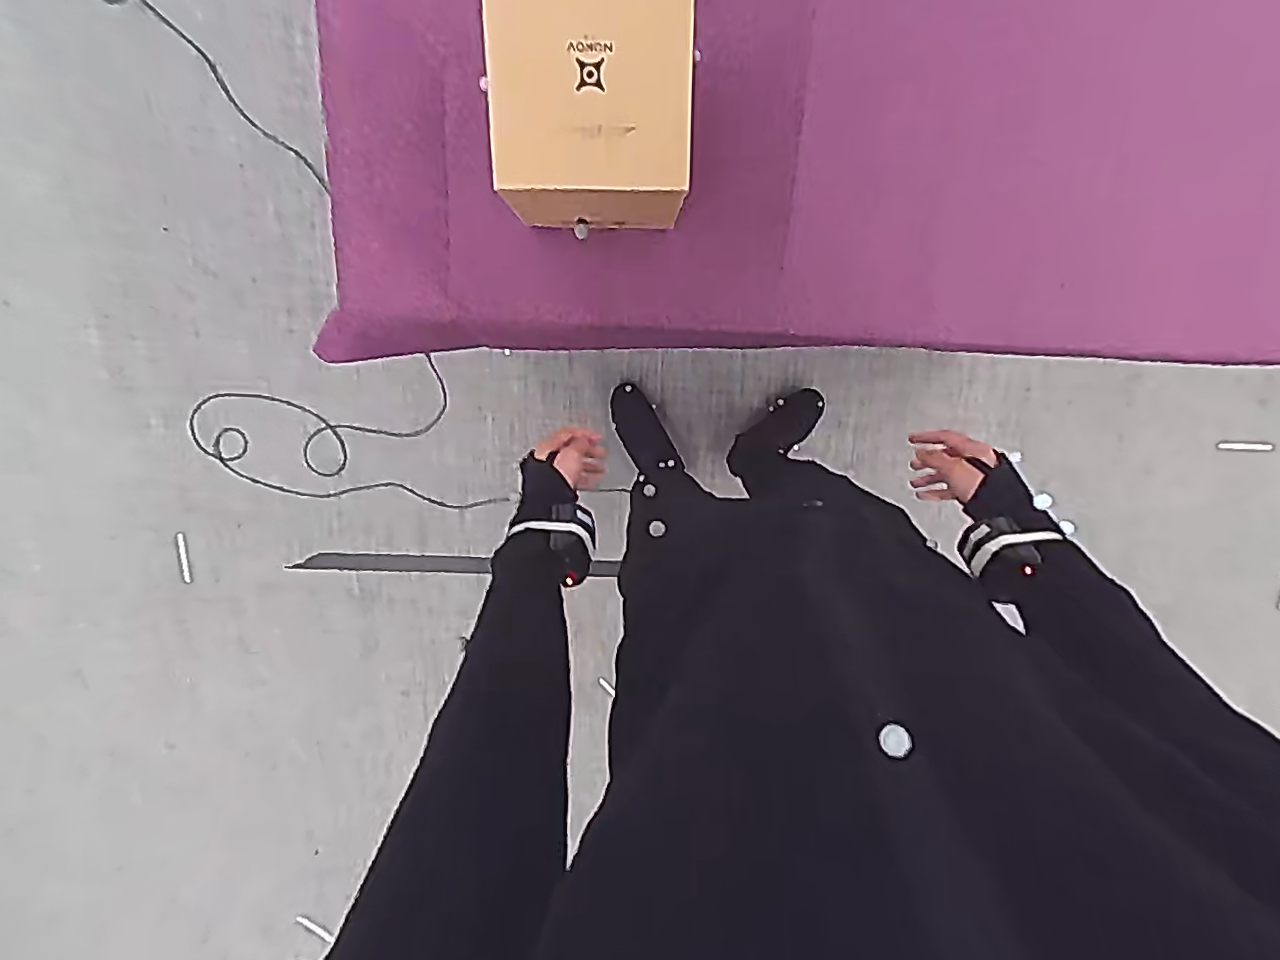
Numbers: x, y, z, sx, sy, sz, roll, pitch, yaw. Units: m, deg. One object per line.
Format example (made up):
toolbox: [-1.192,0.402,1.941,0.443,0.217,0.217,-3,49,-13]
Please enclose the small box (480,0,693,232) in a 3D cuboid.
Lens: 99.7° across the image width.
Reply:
small box: [-0.045,-0.344,0.502,0.168,0.176,0.179,0,104,-1]
